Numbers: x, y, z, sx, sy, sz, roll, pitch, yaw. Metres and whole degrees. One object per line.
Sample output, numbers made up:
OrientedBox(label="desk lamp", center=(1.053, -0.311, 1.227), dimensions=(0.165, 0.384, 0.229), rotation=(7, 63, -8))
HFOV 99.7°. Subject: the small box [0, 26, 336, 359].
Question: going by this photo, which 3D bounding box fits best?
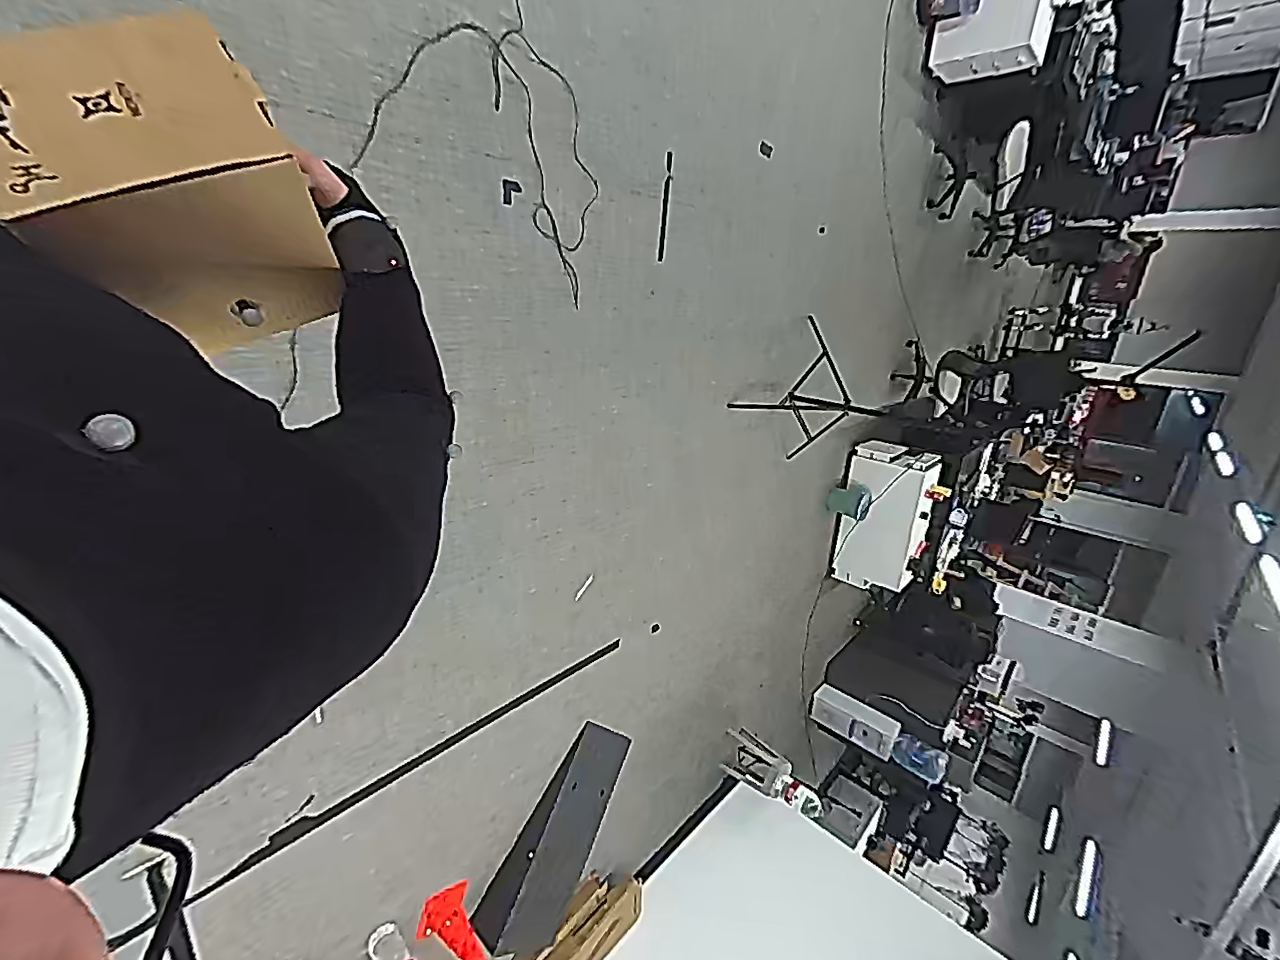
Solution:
OrientedBox(label="small box", center=(-0.392, -0.238, 0.468), dimensions=(0.179, 0.168, 0.176), rotation=(-30, 167, -22))
